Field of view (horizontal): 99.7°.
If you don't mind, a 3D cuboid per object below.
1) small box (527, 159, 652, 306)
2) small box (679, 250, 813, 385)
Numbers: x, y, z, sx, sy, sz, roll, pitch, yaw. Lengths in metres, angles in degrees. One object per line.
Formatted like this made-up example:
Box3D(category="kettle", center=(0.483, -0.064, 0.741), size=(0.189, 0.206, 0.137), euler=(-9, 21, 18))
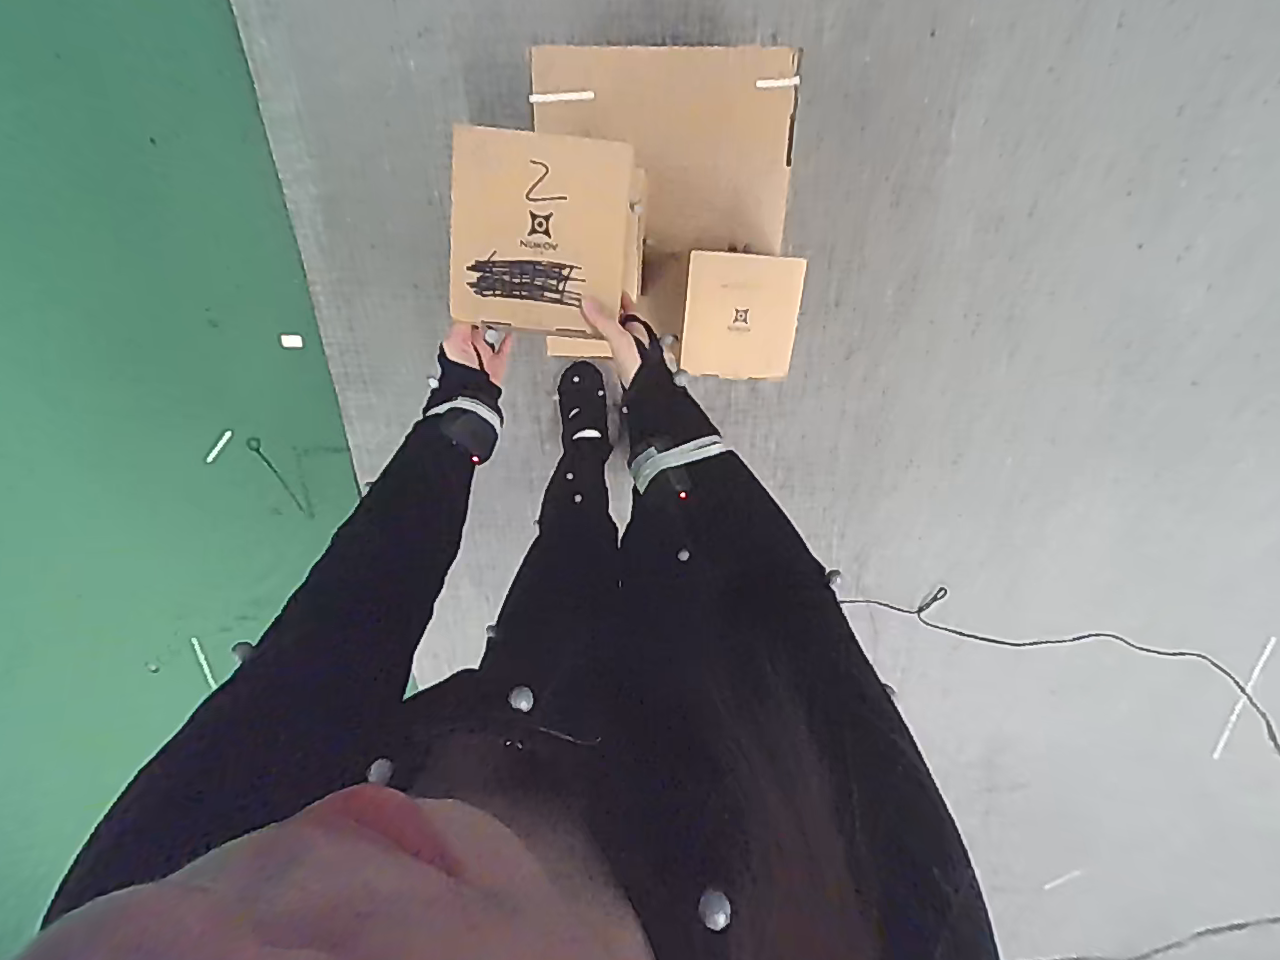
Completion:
Box3D(category="small box", center=(-0.070, -0.364, 0.816), size=(0.168, 0.176, 0.179), euler=(5, 111, 2))
Box3D(category="small box", center=(0.153, -0.259, 0.850), size=(0.168, 0.176, 0.179), euler=(4, 112, -1))
